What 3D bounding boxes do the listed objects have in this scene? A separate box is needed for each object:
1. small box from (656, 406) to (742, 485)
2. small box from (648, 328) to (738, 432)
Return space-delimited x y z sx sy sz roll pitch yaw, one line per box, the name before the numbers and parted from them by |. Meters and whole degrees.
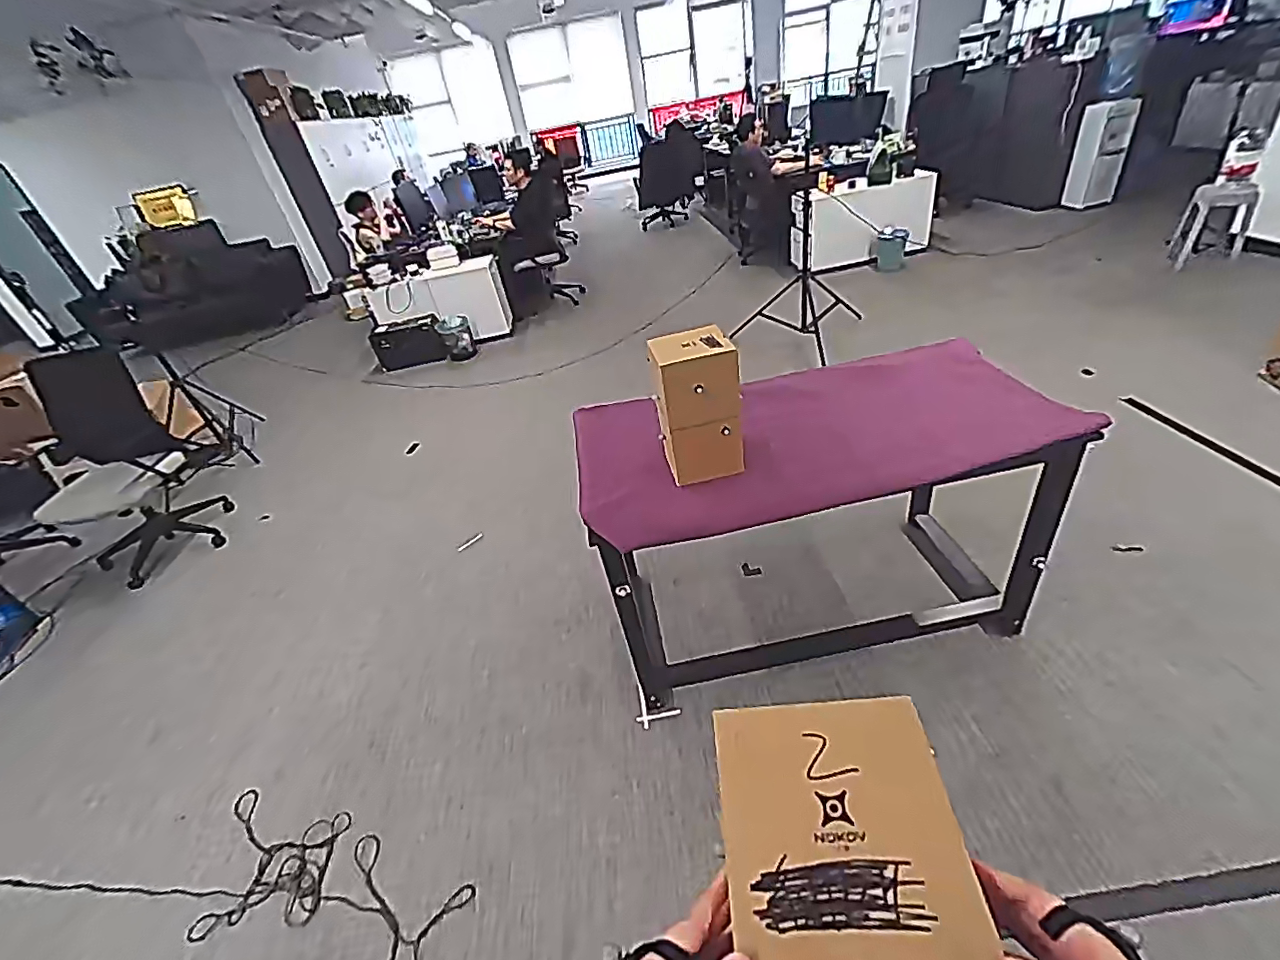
small box | 0.151 -0.105 1.372 0.179 0.176 0.168 -13 35 -3
small box | 0.127 -0.235 1.274 0.179 0.176 0.168 -13 35 -2
